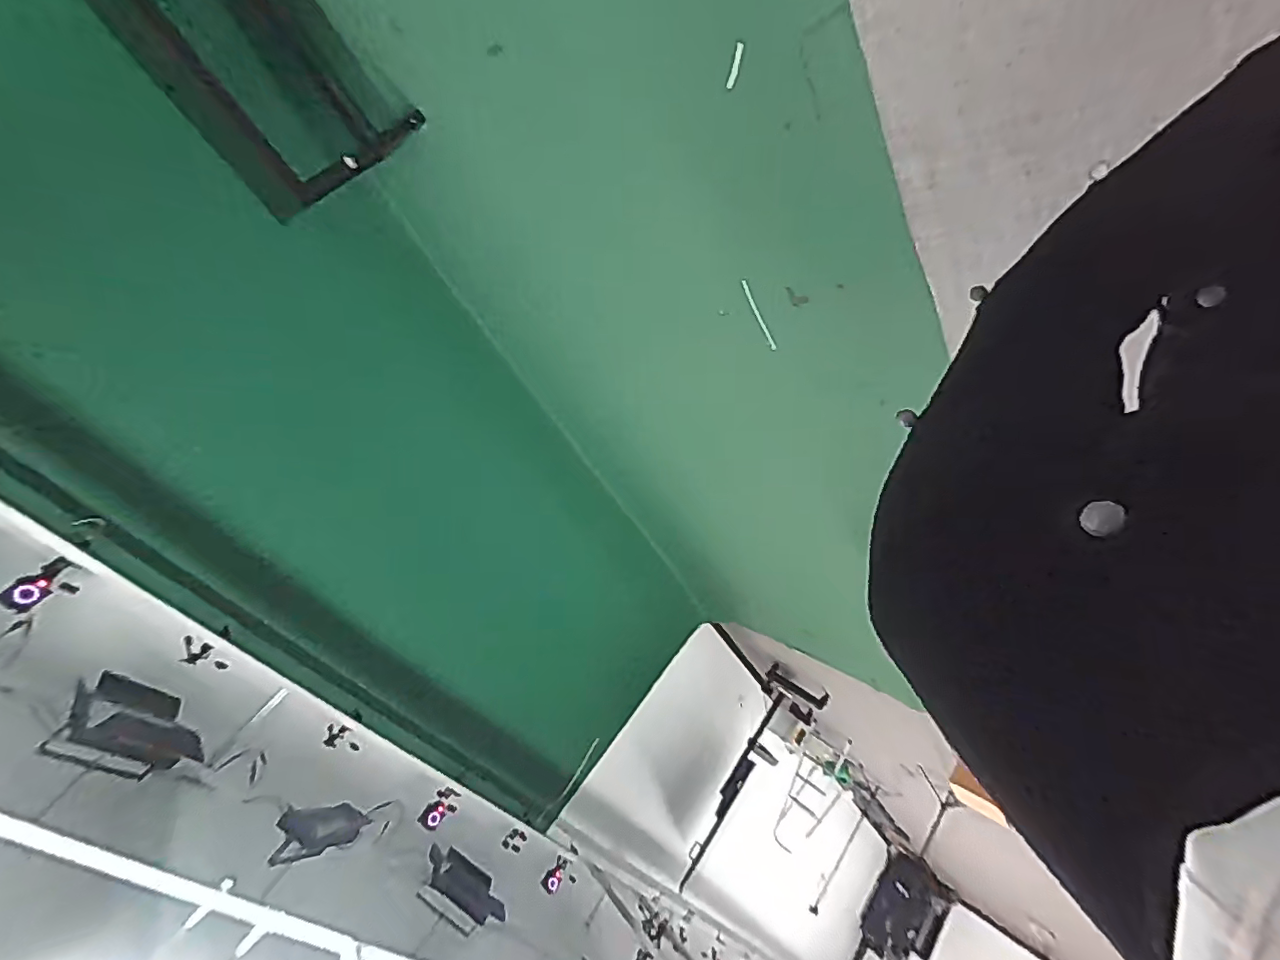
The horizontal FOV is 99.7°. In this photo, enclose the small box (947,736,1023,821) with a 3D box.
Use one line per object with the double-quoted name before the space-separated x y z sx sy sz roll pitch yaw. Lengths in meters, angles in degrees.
"small box" 1.210 1.037 1.889 0.168 0.176 0.179 11 144 51
